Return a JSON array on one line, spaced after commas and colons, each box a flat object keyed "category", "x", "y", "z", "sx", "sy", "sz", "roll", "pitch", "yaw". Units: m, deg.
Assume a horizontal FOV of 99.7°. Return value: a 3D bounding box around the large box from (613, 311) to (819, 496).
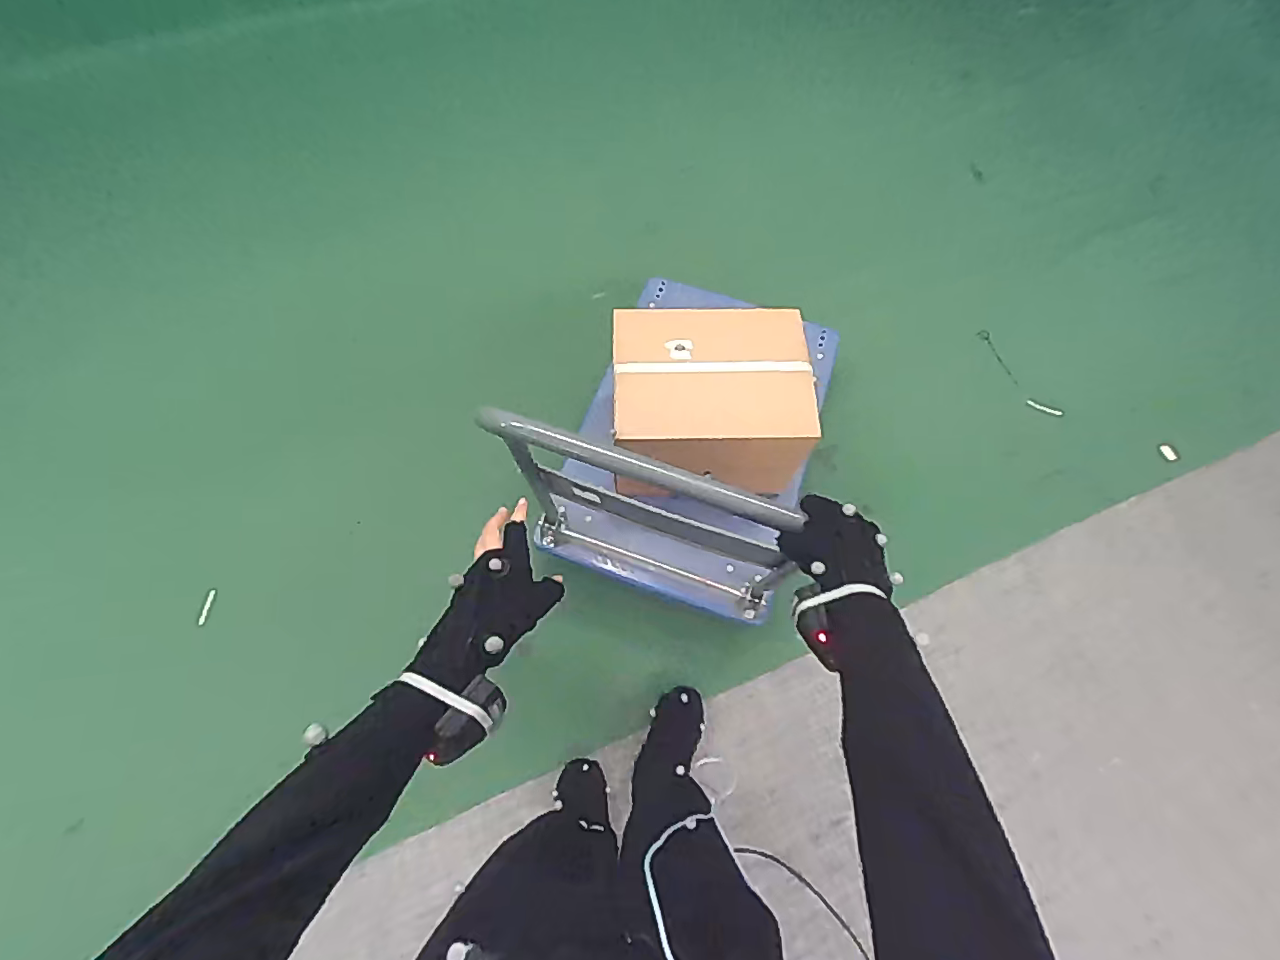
[{"category": "large box", "x": 0.147, "y": -0.160, "z": 1.239, "sx": 0.408, "sy": 0.320, "sz": 0.320, "roll": -1, "pitch": 67, "yaw": -1}]
